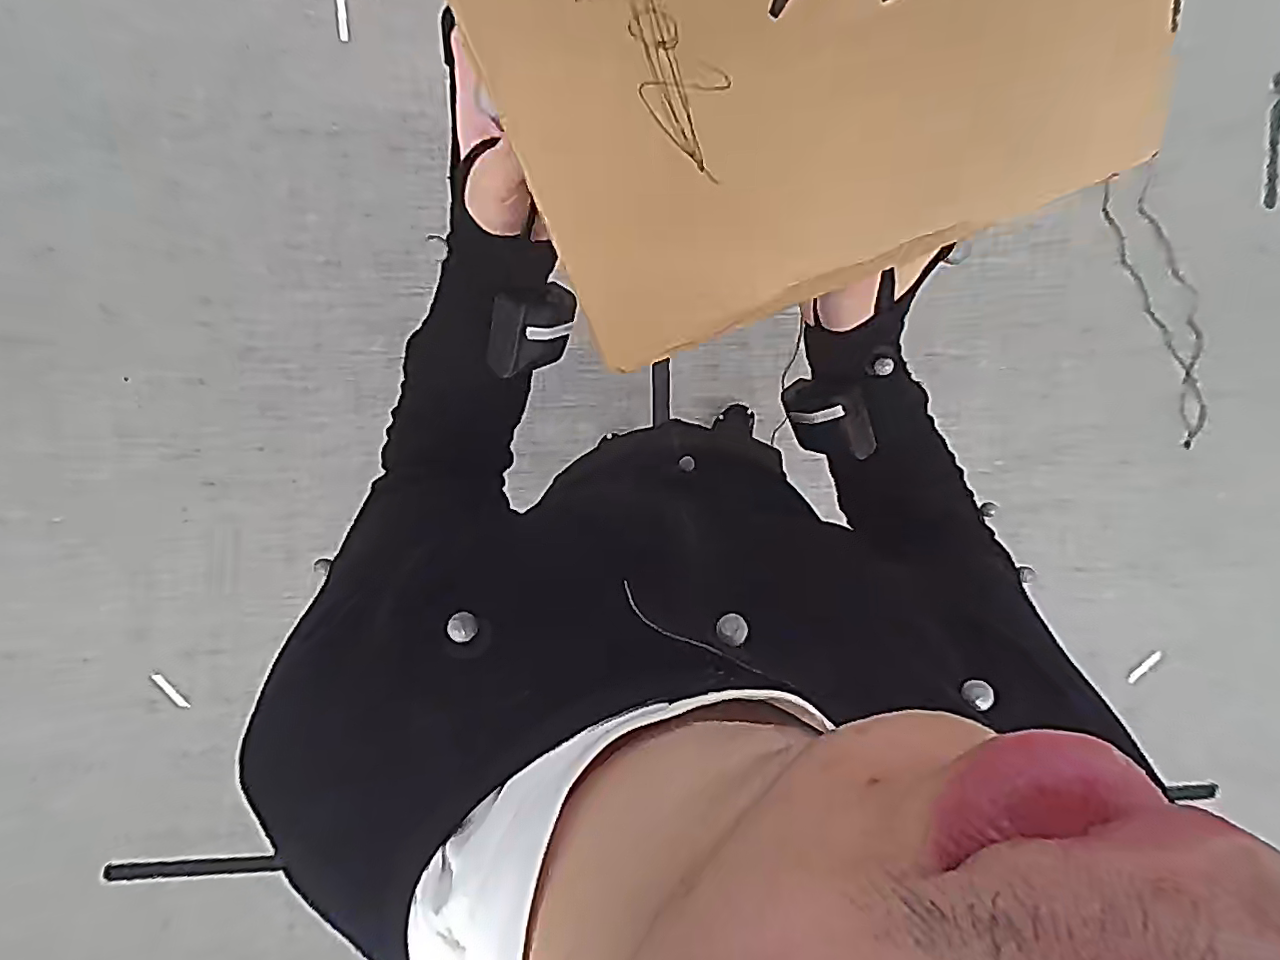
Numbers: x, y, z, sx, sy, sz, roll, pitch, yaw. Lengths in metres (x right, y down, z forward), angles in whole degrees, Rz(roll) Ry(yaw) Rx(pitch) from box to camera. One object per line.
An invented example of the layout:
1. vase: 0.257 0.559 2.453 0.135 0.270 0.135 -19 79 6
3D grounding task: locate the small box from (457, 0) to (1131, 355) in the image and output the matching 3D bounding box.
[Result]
1. small box: 0.035 -0.177 0.207 0.179 0.176 0.168 -20 120 8
